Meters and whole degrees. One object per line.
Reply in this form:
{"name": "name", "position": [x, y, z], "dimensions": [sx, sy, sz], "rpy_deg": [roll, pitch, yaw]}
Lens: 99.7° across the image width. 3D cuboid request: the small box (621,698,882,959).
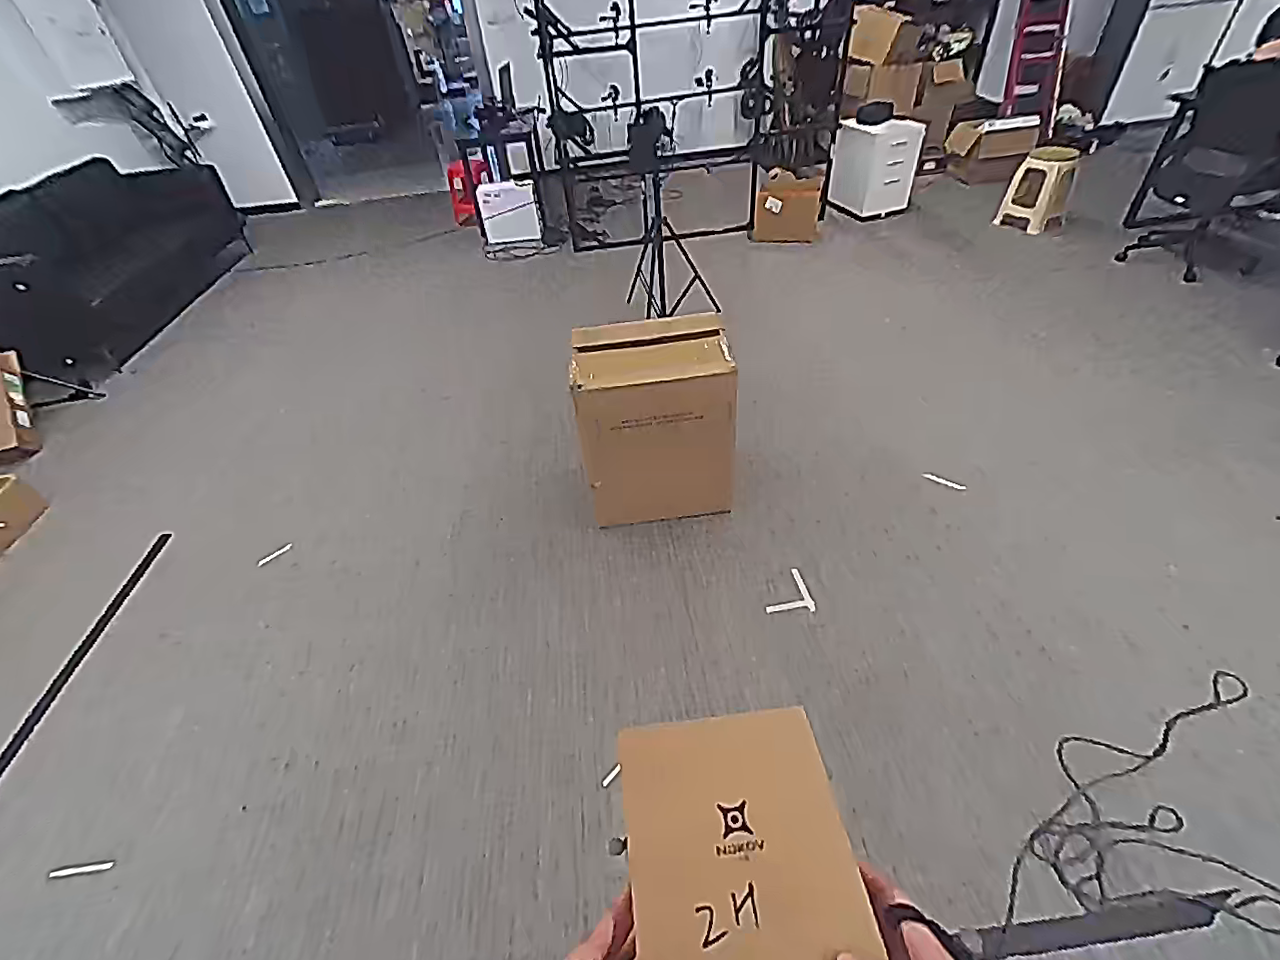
{"name": "small box", "position": [0.073, 0.317, 0.468], "dimensions": [0.168, 0.176, 0.179], "rpy_deg": [-6, 44, -4]}
